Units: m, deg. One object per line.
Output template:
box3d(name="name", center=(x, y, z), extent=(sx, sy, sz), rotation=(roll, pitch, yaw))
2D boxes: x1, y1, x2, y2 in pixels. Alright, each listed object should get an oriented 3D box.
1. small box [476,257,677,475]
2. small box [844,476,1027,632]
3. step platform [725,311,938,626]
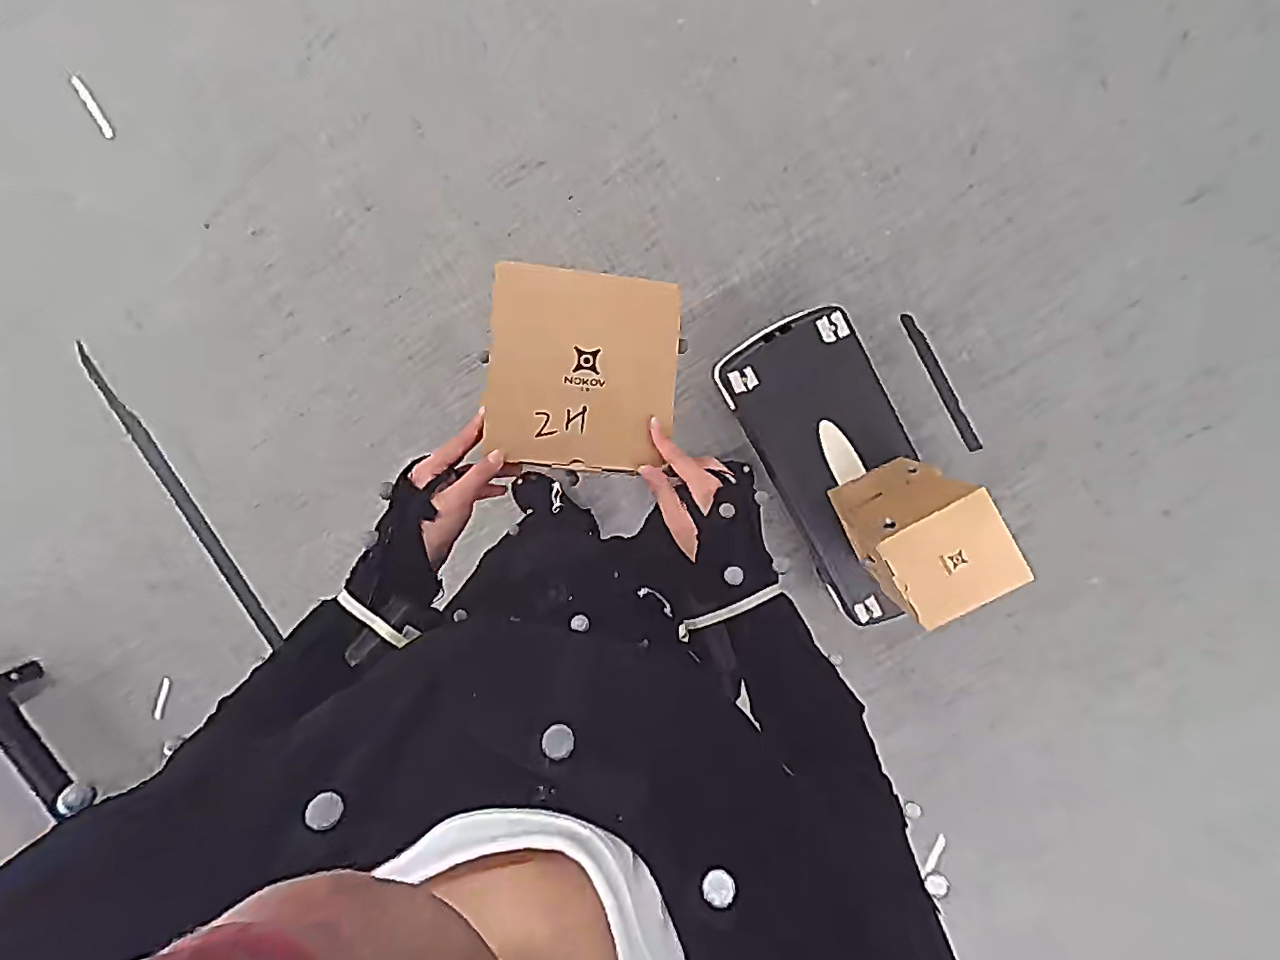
box3d(name="small box", center=(-0.065, -0.099, 0.552), extent=(0.168, 0.176, 0.179), rotation=(4, 90, -8))
box3d(name="small box", center=(0.469, 0.109, 0.886), extent=(0.179, 0.176, 0.168), rotation=(-31, 96, 9))
box3d(name="step platform", center=(0.463, -0.021, 1.207), extent=(0.286, 0.204, 0.684), rotation=(-29, 95, 7))
